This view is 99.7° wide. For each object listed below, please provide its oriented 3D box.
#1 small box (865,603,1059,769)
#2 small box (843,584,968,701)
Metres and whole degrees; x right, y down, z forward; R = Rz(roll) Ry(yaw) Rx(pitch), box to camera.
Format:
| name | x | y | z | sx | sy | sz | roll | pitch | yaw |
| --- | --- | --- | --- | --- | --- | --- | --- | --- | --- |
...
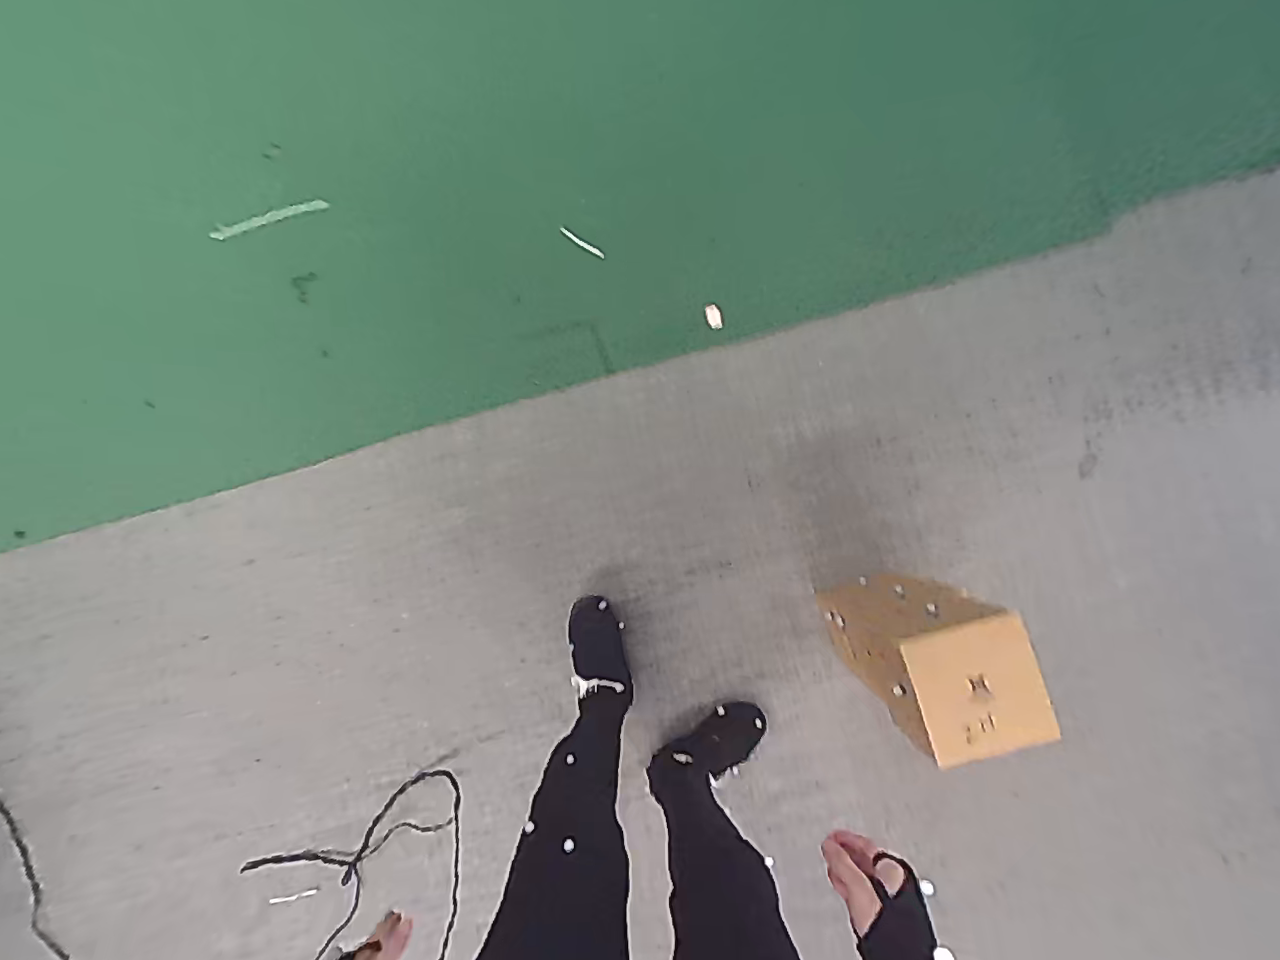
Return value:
| name | x | y | z | sx | sy | sz | roll | pitch | yaw |
| --- | --- | --- | --- | --- | --- | --- | --- | --- | --- |
| small box | 0.461 | 0.291 | 0.807 | 0.168 | 0.176 | 0.179 | -16 | 85 | 3 |
| small box | 0.483 | 0.295 | 0.971 | 0.179 | 0.176 | 0.168 | -17 | 85 | 2 |
